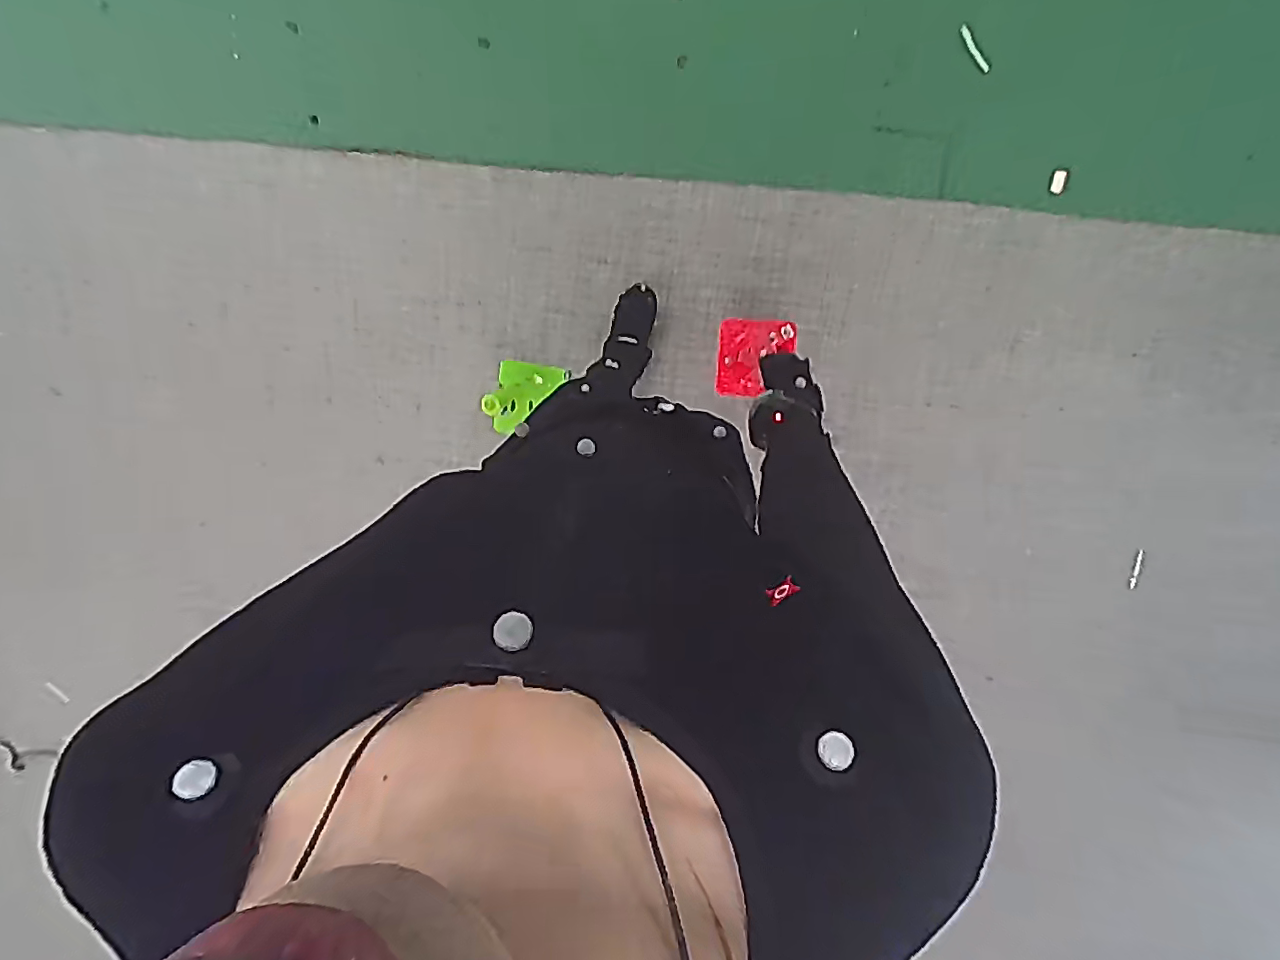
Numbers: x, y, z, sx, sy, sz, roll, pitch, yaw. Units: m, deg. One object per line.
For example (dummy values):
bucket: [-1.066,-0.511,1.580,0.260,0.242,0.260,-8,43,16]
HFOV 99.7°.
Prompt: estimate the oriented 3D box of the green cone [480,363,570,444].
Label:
green cone: [-0.307,-0.178,1.302,0.200,0.368,0.202,8,100,2]

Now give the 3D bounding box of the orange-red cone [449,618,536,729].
orange-red cone: [-0.421,0.535,1.426,0.198,0.360,0.199,11,98,0]
